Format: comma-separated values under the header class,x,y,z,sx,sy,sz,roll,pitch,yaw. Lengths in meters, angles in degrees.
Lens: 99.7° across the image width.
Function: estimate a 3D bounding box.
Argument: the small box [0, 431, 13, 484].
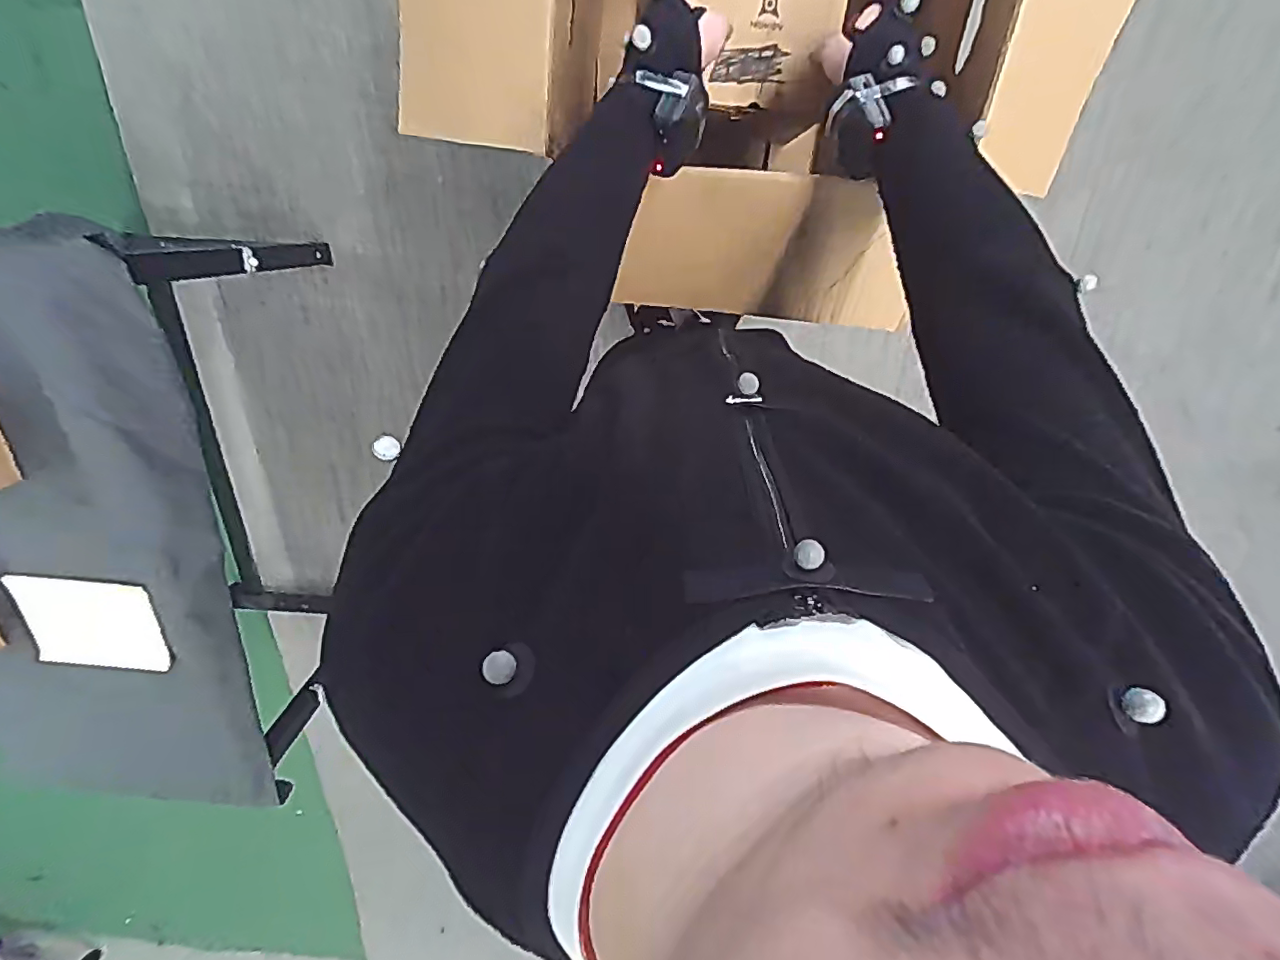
class,x,y,z,sx,sy,sz,roll,pitch,yaw
small box,-1.122,-0.049,0.810,0.179,0.176,0.168,3,115,0
